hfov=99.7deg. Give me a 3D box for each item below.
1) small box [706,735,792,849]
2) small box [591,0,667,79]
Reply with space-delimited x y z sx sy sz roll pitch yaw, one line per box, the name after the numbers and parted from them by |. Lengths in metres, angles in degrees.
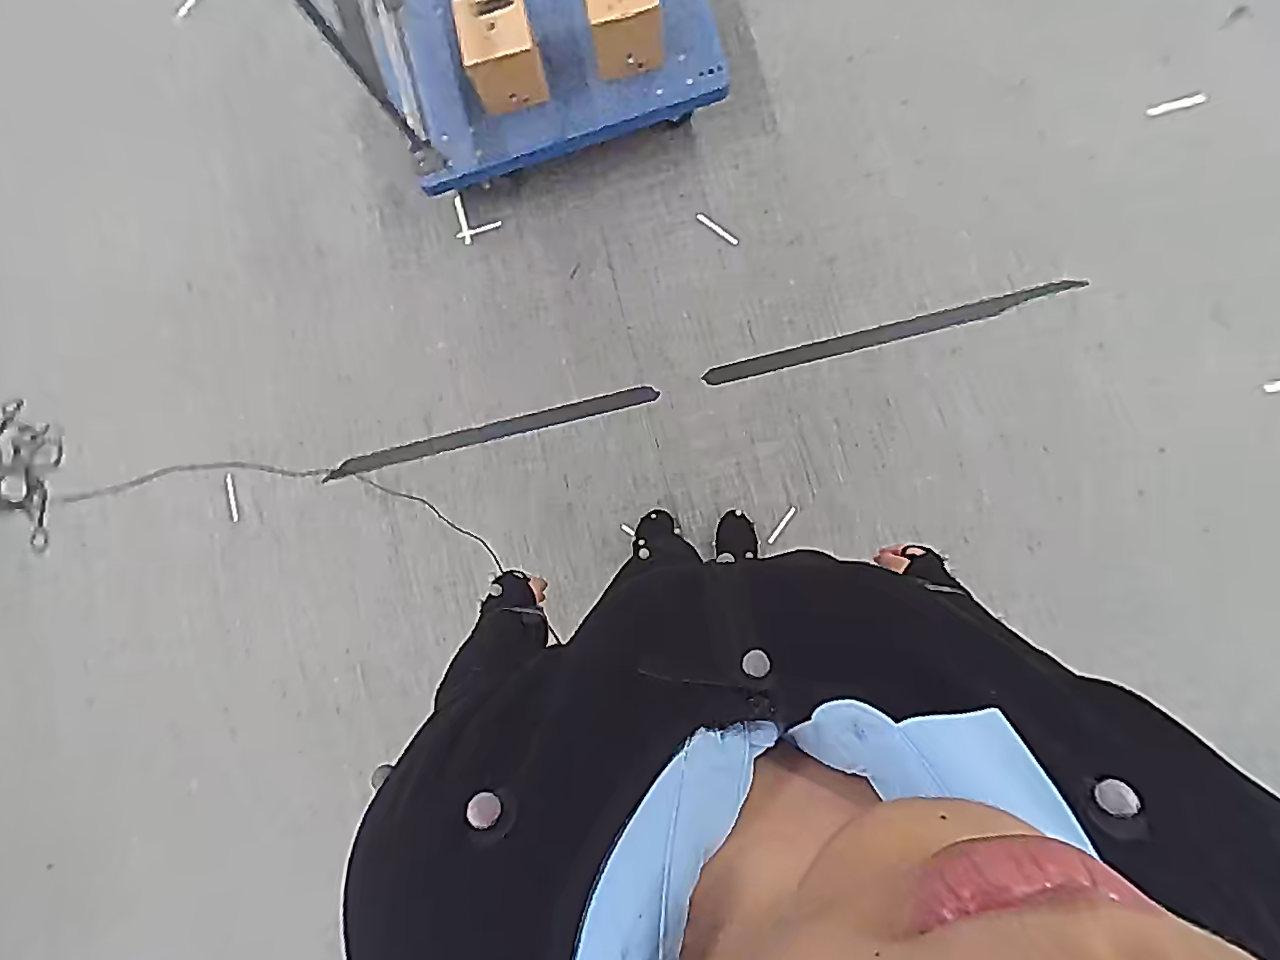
0.268 0.777 1.361 0.168 0.176 0.179 -16 84 3 | small box
-0.031 -1.143 1.324 0.168 0.176 0.179 -12 85 5 | small box
